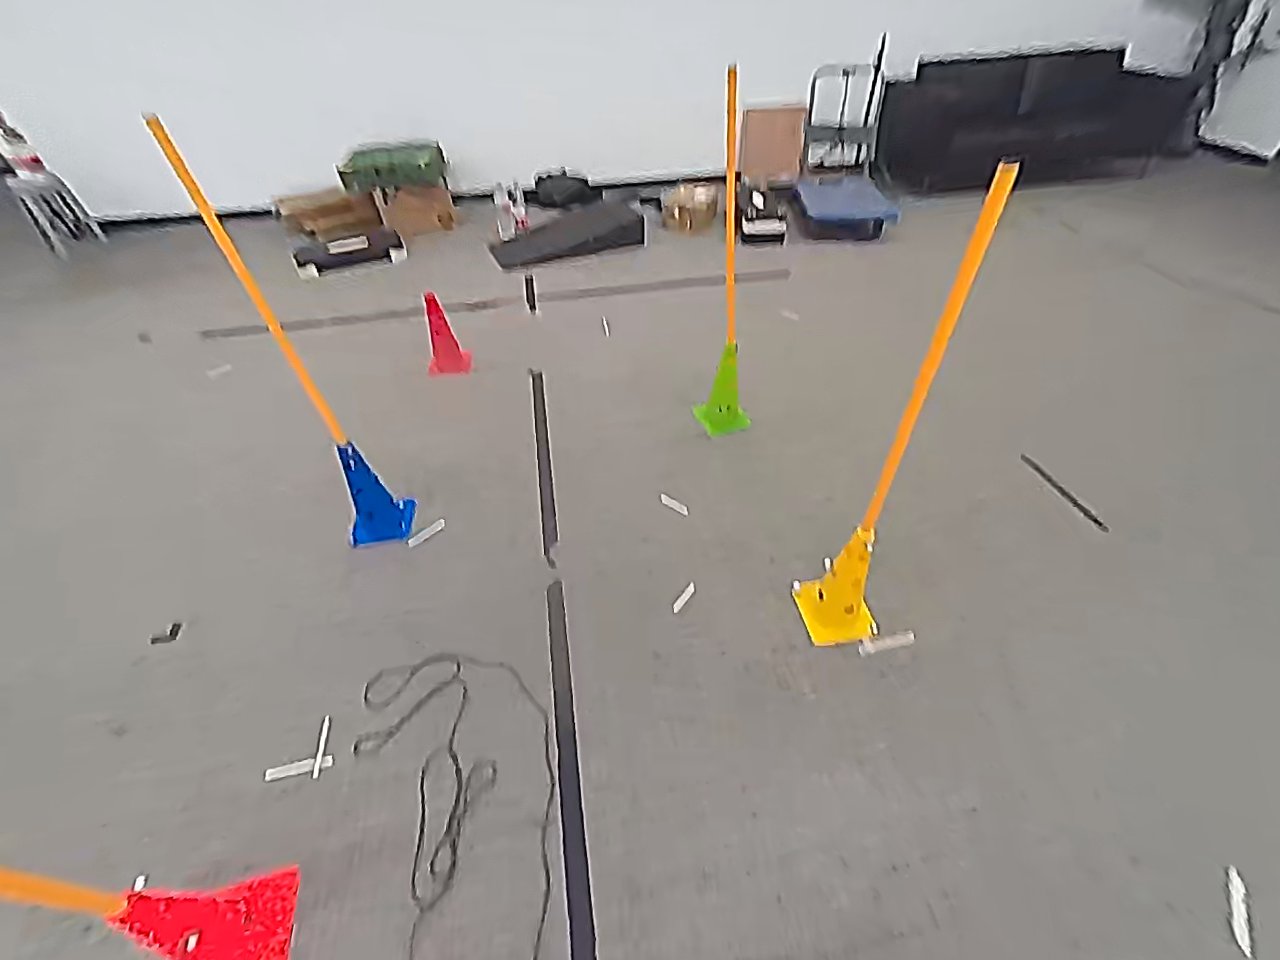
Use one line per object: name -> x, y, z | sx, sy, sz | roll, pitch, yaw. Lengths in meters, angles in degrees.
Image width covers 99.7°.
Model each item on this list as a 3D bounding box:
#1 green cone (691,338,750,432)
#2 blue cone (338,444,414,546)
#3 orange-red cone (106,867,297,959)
green cone -> 0.338, -0.403, 2.168 | 0.200, 0.368, 0.202 | -16, 47, -15
blue cone -> -0.893, 0.029, 1.766 | 0.193, 0.380, 0.192 | -7, 44, -5
orange-red cone -> -0.798, 0.780, 0.952 | 0.199, 0.360, 0.198 | -11, 45, -12
